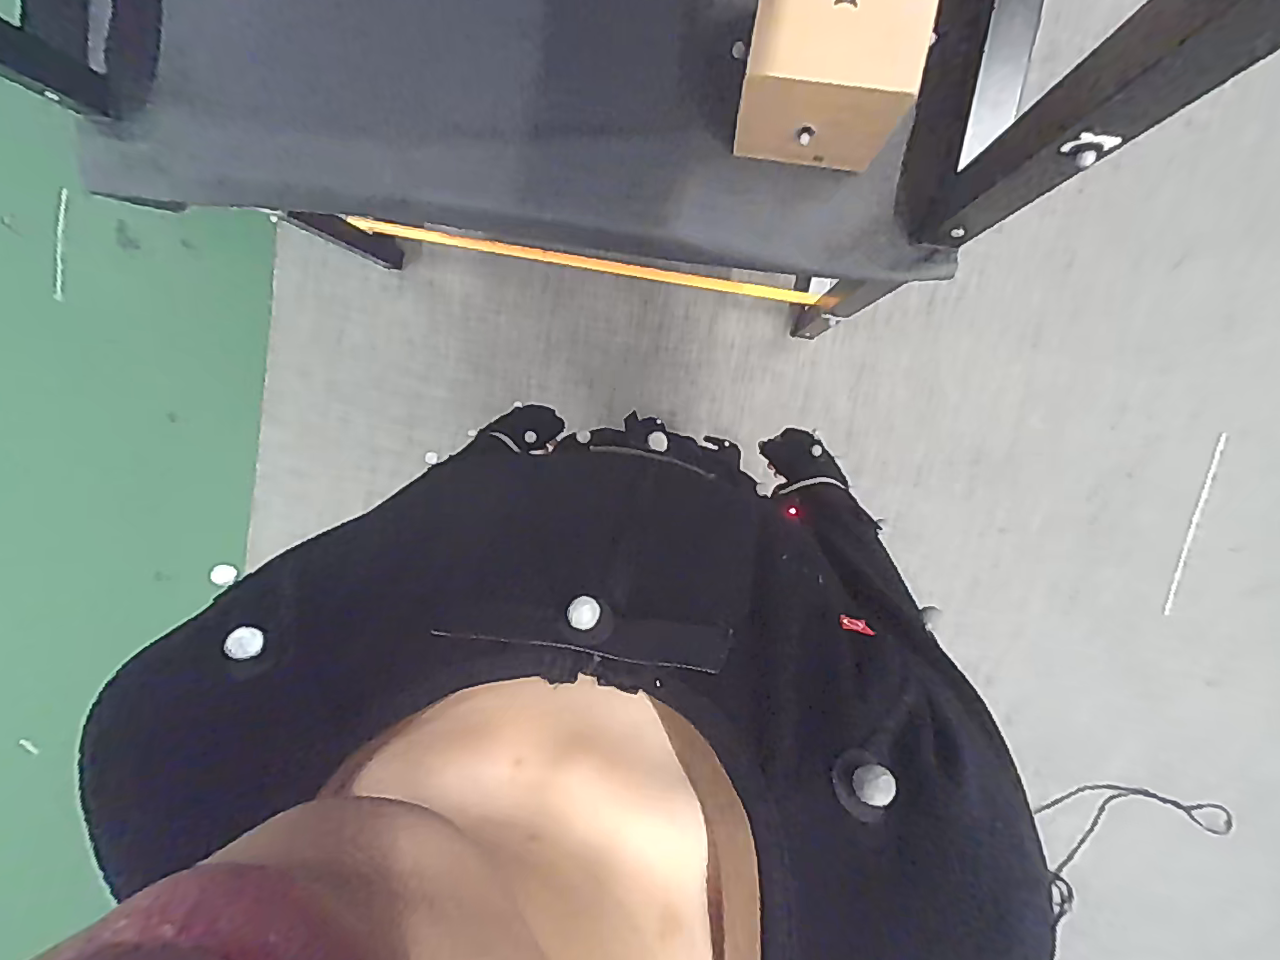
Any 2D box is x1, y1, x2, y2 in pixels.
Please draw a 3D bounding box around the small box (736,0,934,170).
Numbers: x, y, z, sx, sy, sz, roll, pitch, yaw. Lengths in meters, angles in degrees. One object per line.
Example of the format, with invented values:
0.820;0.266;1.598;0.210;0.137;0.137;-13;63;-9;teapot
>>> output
0.204;-0.471;0.592;0.168;0.176;0.179;11;97;4;small box
